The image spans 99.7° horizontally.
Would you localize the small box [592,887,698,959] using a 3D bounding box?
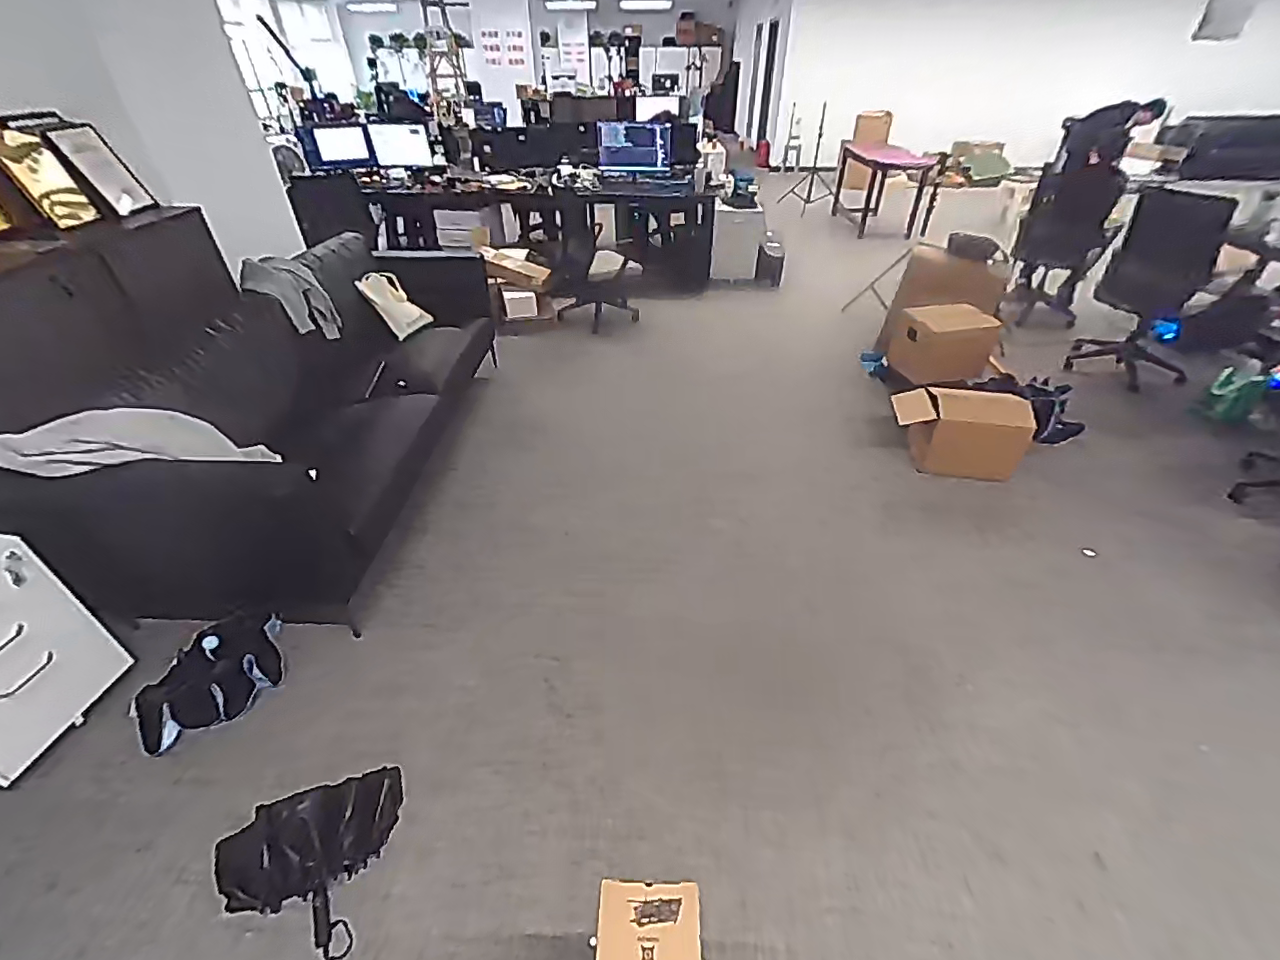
[{"bbox_3d":[0.004,0.794,0.873,0.168,0.176,0.179,2,38,1],"label":"small box"}]
